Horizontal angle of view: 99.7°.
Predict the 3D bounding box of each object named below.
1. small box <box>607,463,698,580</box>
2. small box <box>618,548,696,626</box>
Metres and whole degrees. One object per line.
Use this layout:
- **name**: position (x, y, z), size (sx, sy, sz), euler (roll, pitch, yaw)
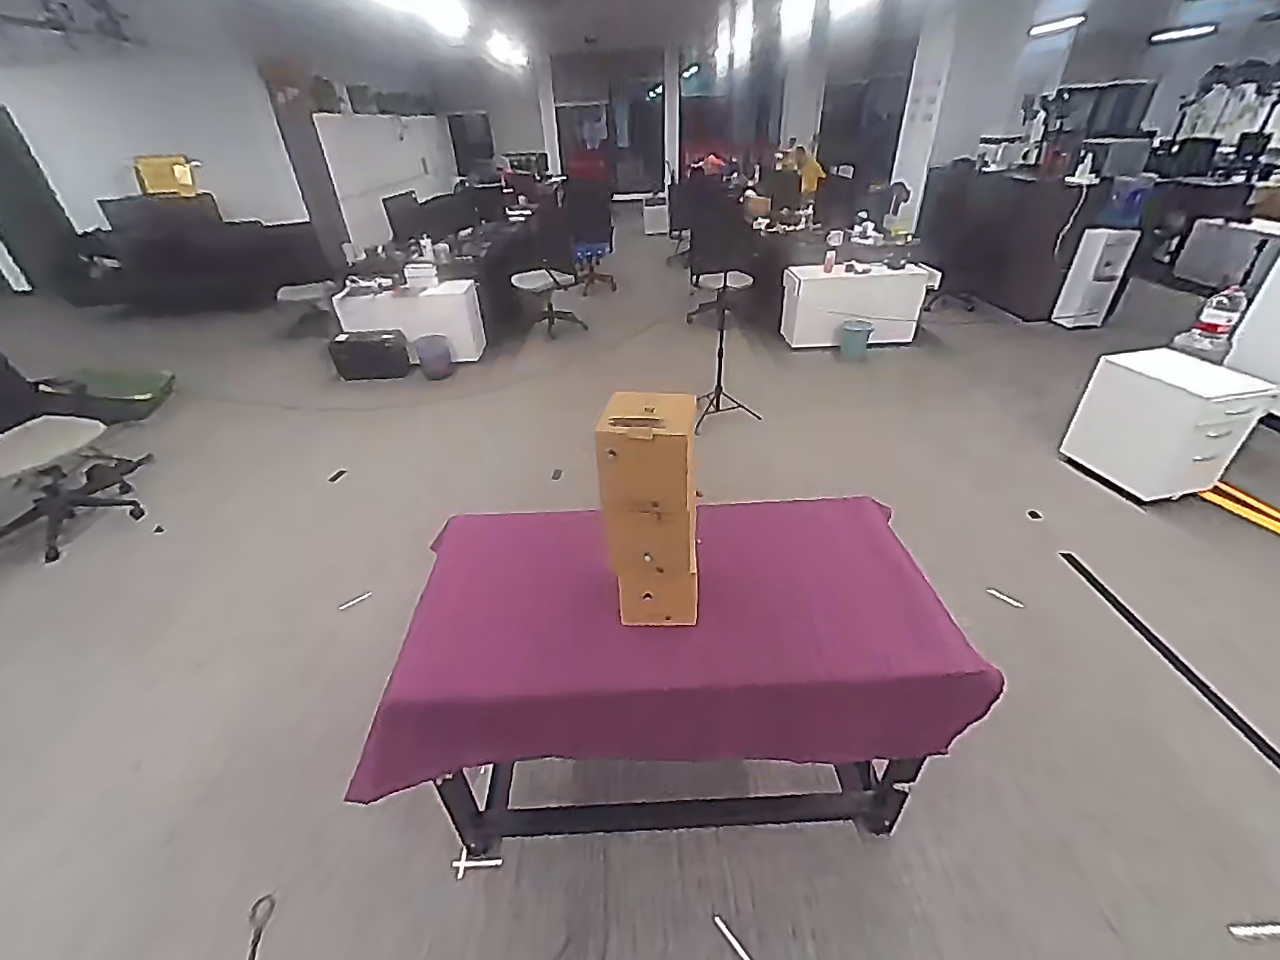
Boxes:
- **small box**: position (0.032, 0.083, 1.132), size (0.168, 0.176, 0.179), euler (3, 34, 9)
- **small box**: position (0.043, 0.214, 1.231), size (0.168, 0.176, 0.179), euler (-1, 33, 3)
